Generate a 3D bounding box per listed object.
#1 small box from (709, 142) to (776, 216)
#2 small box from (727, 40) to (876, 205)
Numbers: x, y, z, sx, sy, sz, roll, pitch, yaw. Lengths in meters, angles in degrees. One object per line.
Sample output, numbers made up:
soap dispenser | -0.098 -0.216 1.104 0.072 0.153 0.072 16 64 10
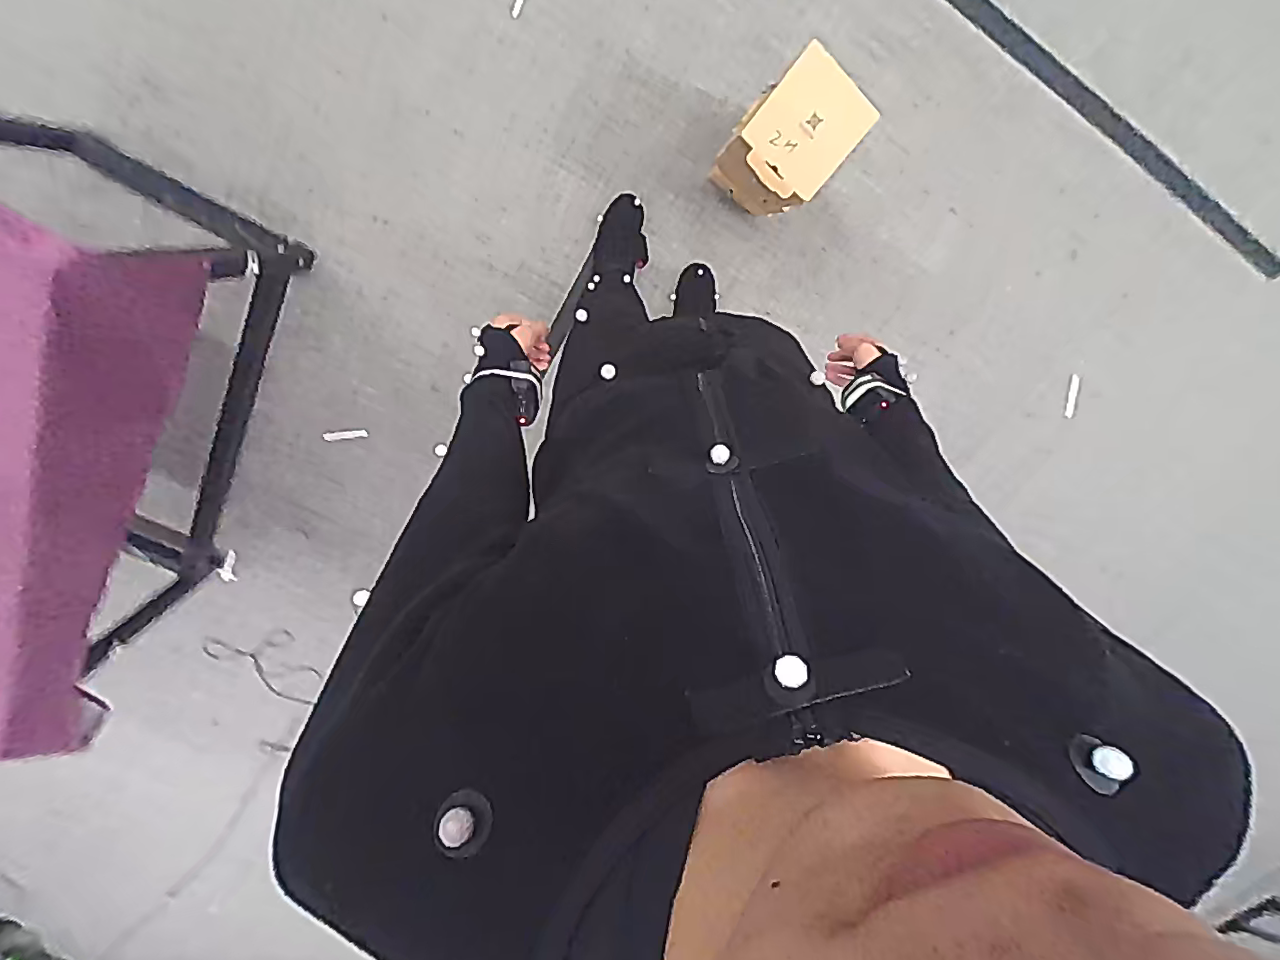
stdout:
small box | 0.278 -0.753 1.287 0.168 0.176 0.179 32 110 -14
small box | 0.278 -0.630 0.980 0.168 0.176 0.179 37 109 -16
